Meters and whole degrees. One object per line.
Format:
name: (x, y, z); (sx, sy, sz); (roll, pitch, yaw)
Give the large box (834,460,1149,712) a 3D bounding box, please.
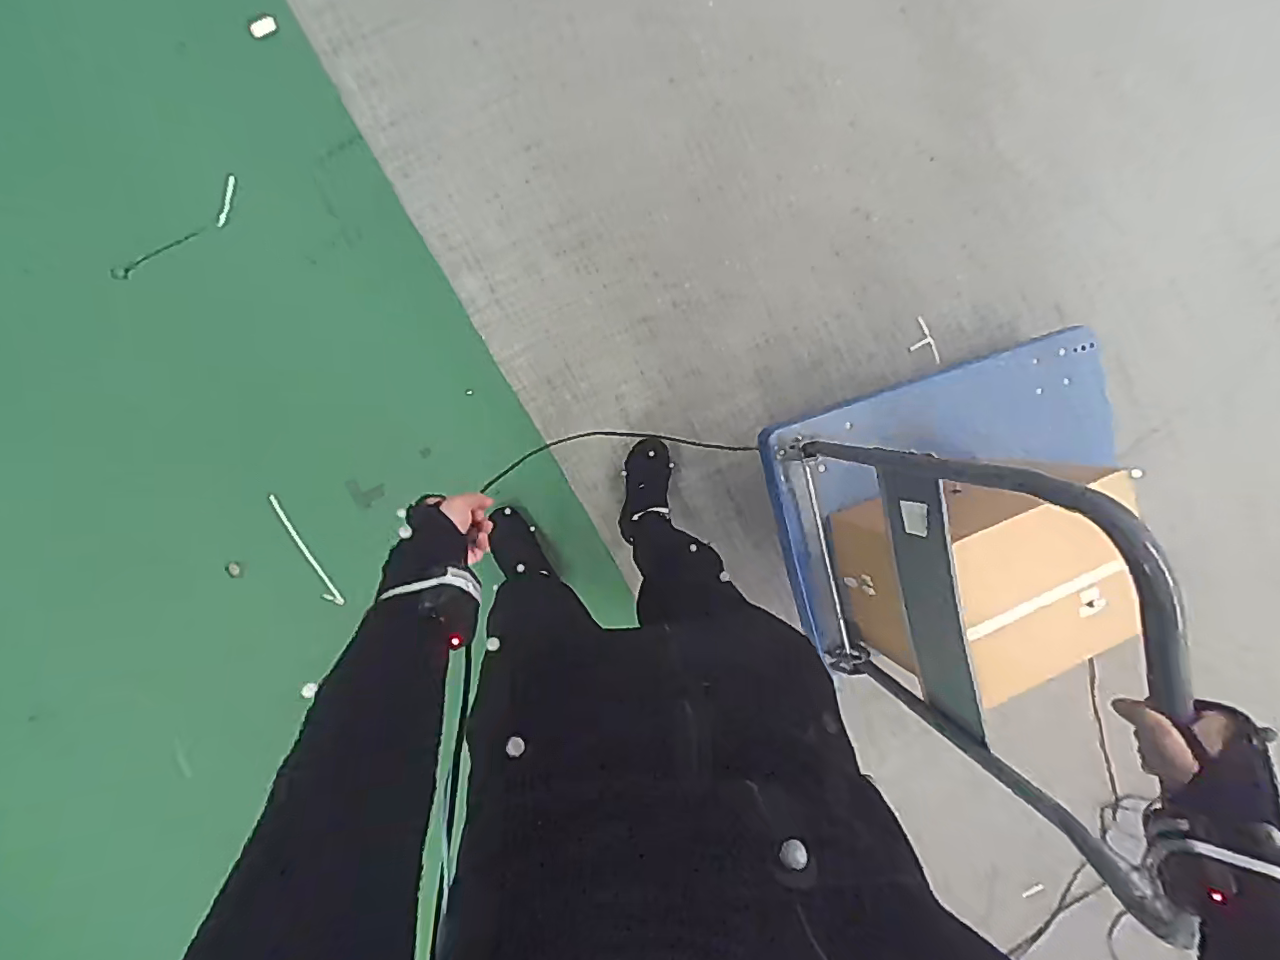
large box: (0.671, 0.172, 1.070); (0.408, 0.320, 0.320); (-20, 101, -12)
